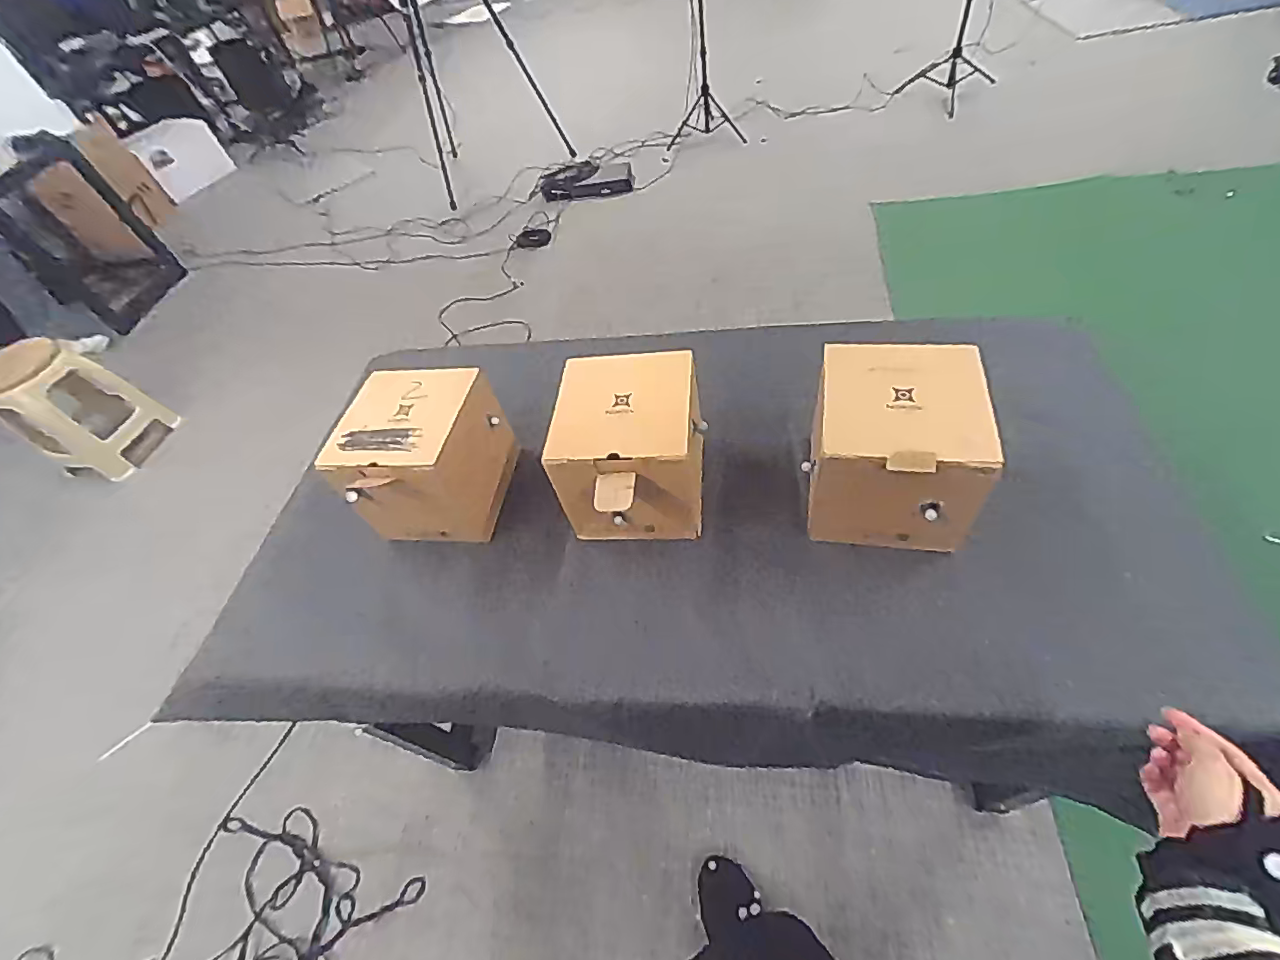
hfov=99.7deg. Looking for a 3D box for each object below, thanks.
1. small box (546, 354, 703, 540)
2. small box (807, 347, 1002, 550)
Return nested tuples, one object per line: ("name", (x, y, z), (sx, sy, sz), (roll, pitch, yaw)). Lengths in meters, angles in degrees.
("small box", (-0.007, -0.040, 0.703), (0.168, 0.176, 0.179), (-1, 53, 10))
("small box", (0.292, -0.035, 0.637), (0.168, 0.176, 0.179), (5, 53, 14))
